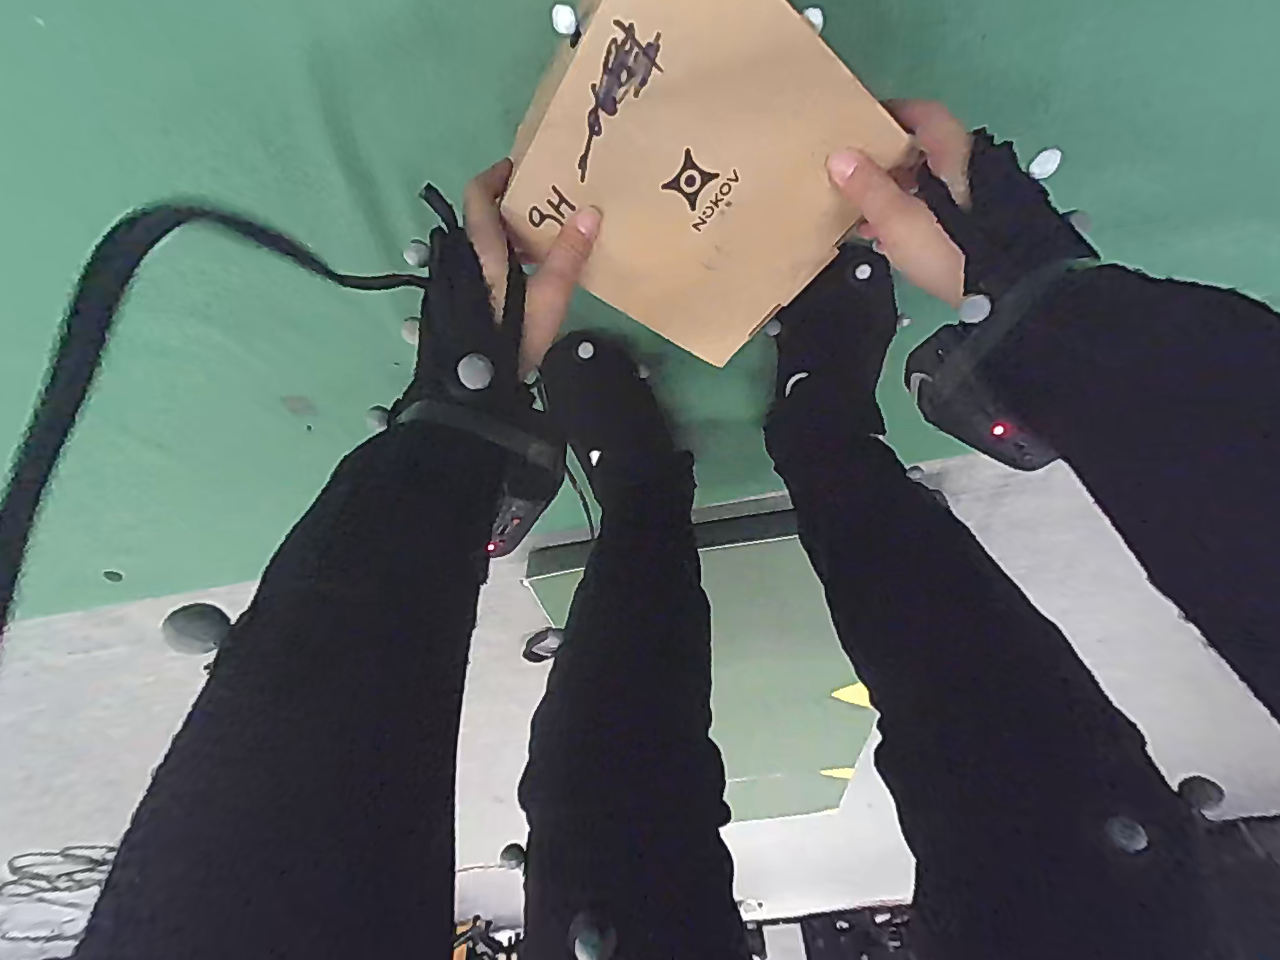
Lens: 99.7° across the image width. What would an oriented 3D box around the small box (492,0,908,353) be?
[{"bbox_3d":[0.027,-0.224,0.351,0.179,0.176,0.168,24,130,-29],"label":"small box"}]
